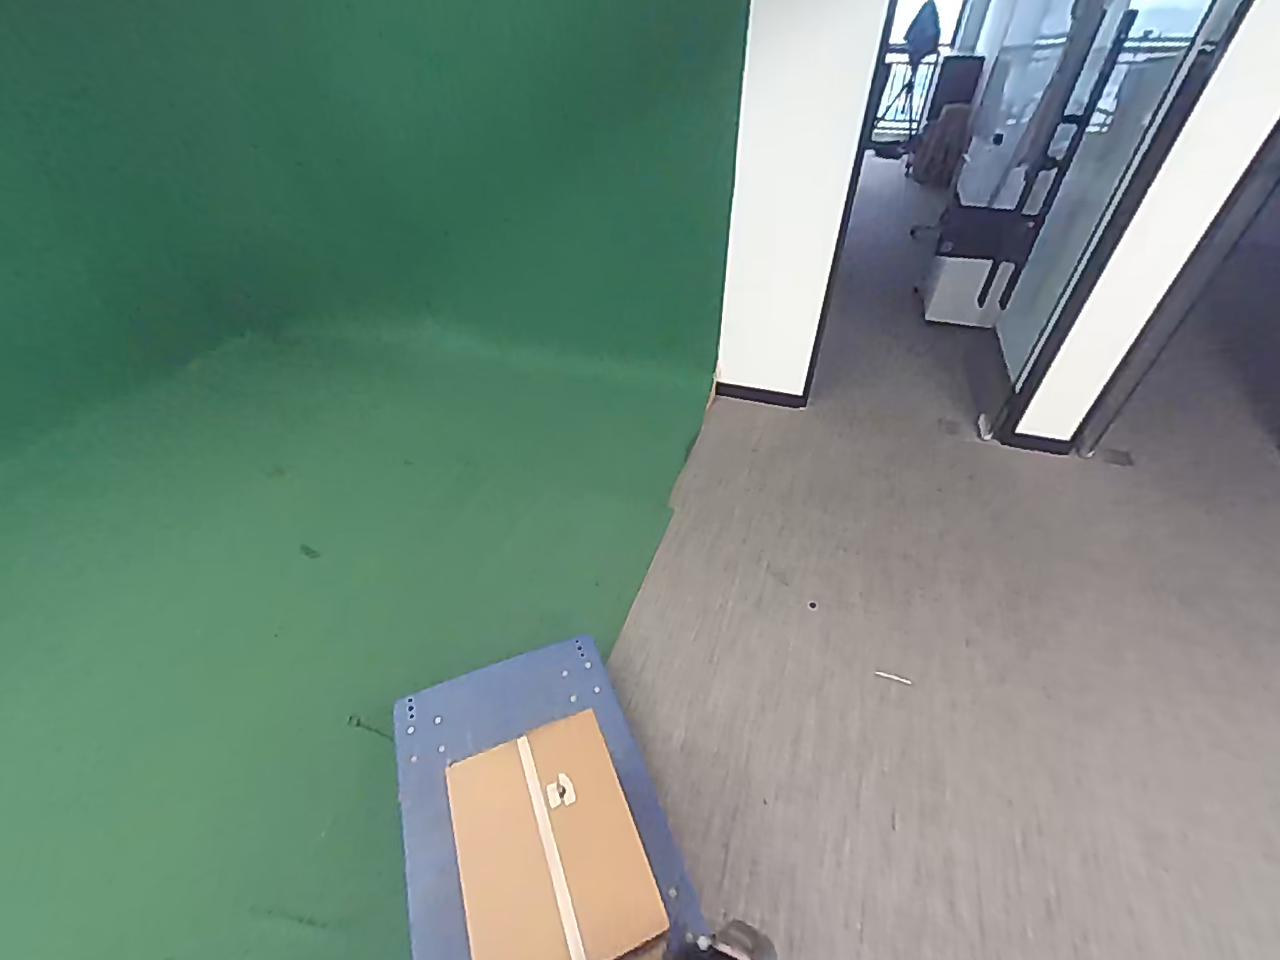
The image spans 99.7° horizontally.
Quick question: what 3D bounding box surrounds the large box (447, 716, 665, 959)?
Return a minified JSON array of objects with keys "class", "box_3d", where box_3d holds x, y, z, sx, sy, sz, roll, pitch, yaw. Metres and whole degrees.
[{"class":"large box","box_3d":[-0.170,0.782,1.095,0.320,0.320,0.408,-15,43,-17]}]
